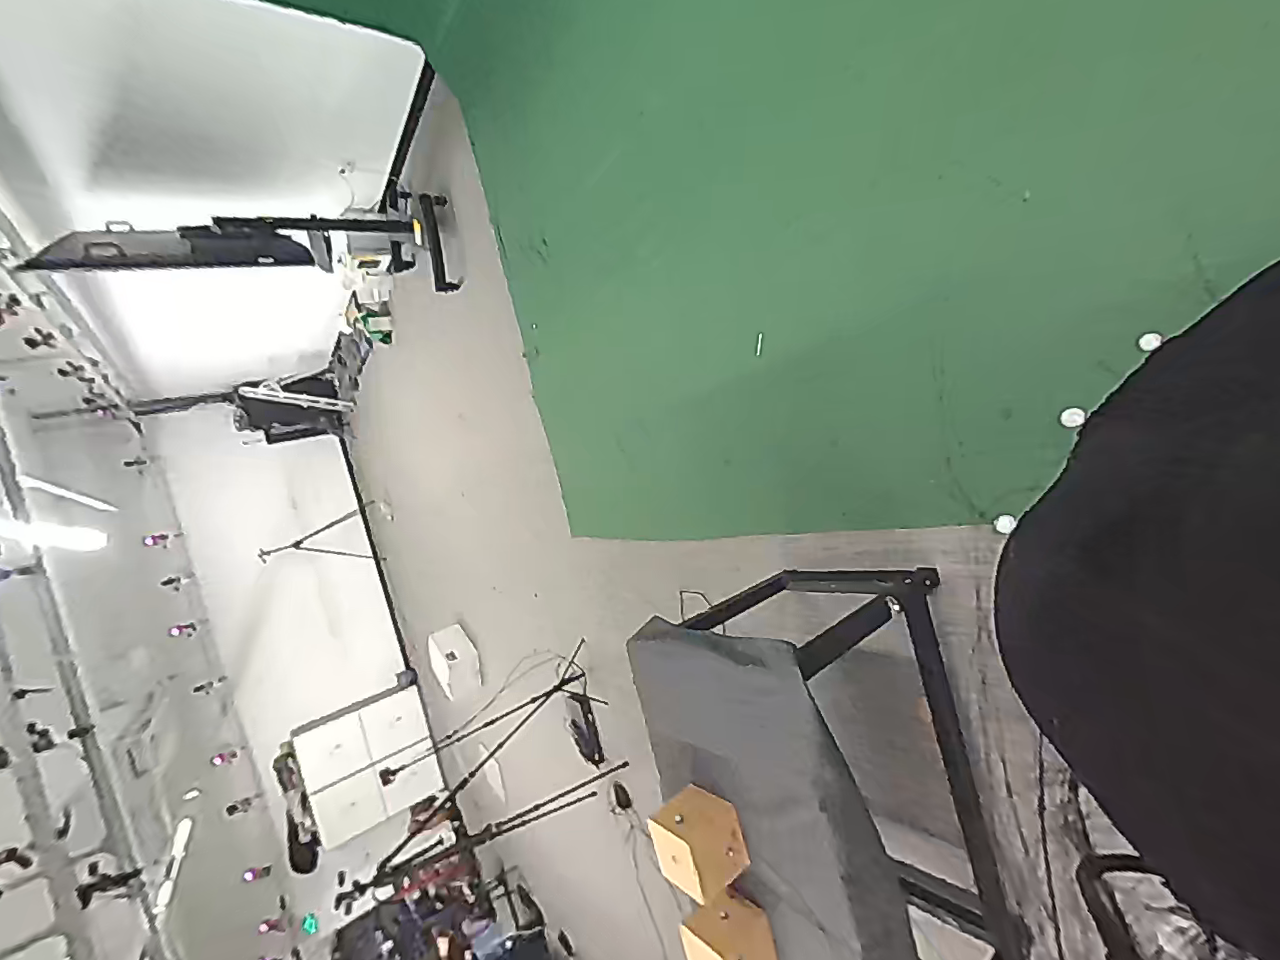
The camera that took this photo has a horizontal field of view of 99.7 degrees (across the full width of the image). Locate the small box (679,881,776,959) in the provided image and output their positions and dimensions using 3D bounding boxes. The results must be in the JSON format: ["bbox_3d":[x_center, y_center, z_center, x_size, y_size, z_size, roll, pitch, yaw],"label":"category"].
[{"bbox_3d":[0.232,1.218,1.425,0.168,0.176,0.179,-10,95,53],"label":"small box"}]

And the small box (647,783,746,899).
[{"bbox_3d":[0.149,0.941,1.432,0.179,0.176,0.168,-13,93,53],"label":"small box"}]
